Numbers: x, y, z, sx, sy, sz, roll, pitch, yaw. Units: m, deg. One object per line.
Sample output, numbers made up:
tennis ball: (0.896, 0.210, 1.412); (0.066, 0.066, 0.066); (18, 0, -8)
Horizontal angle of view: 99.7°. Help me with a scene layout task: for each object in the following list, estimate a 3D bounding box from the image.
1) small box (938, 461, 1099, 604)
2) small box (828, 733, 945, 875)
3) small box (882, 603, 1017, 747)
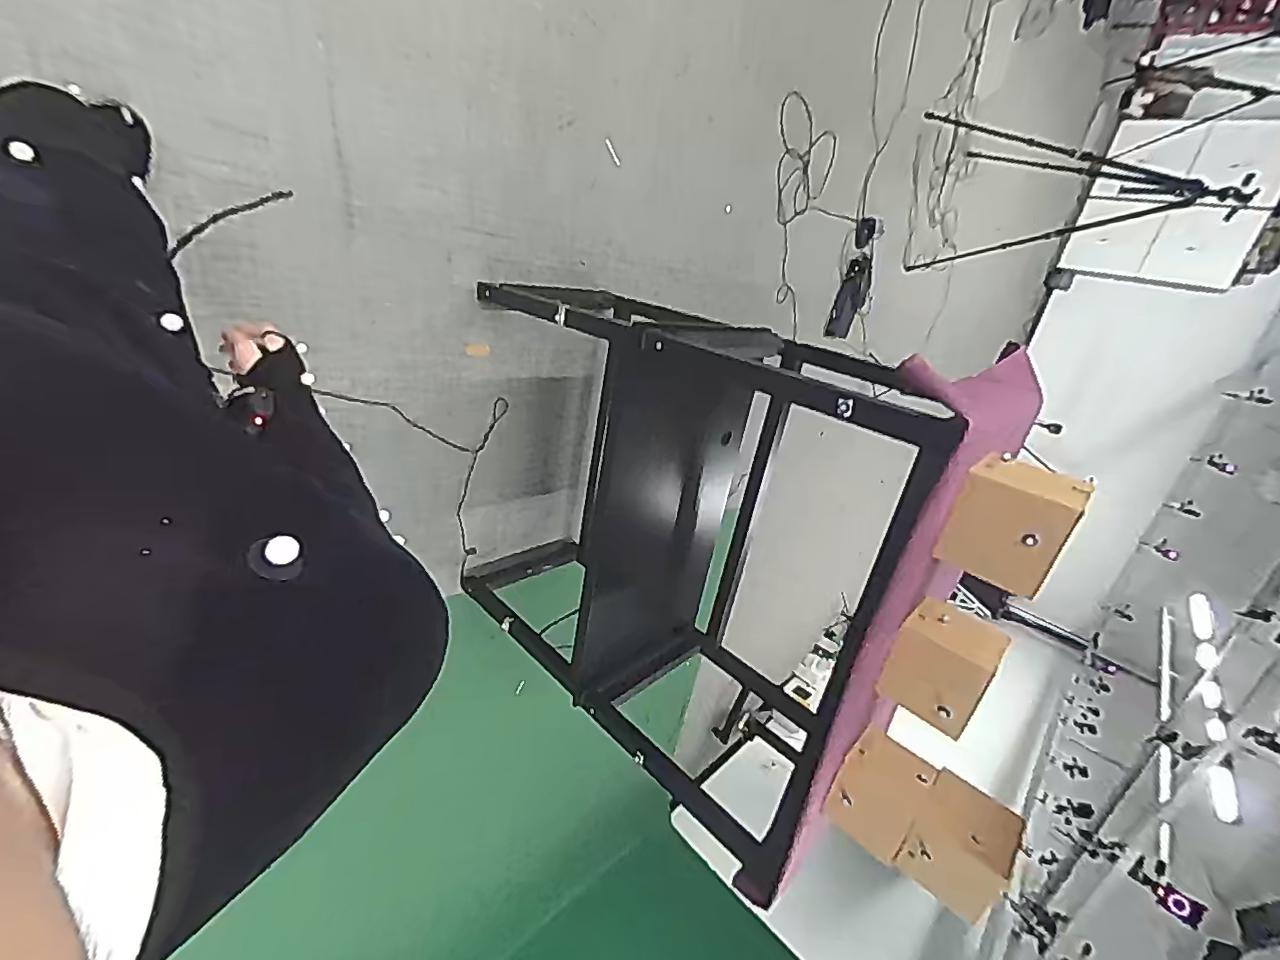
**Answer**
small box: (0.652, 0.078, 0.942); (0.168, 0.176, 0.179); (-17, 126, -43)
small box: (0.548, 0.718, 1.218); (0.168, 0.176, 0.179); (-16, 124, -46)
small box: (0.608, 0.377, 1.077); (0.168, 0.176, 0.179); (-14, 122, -46)
